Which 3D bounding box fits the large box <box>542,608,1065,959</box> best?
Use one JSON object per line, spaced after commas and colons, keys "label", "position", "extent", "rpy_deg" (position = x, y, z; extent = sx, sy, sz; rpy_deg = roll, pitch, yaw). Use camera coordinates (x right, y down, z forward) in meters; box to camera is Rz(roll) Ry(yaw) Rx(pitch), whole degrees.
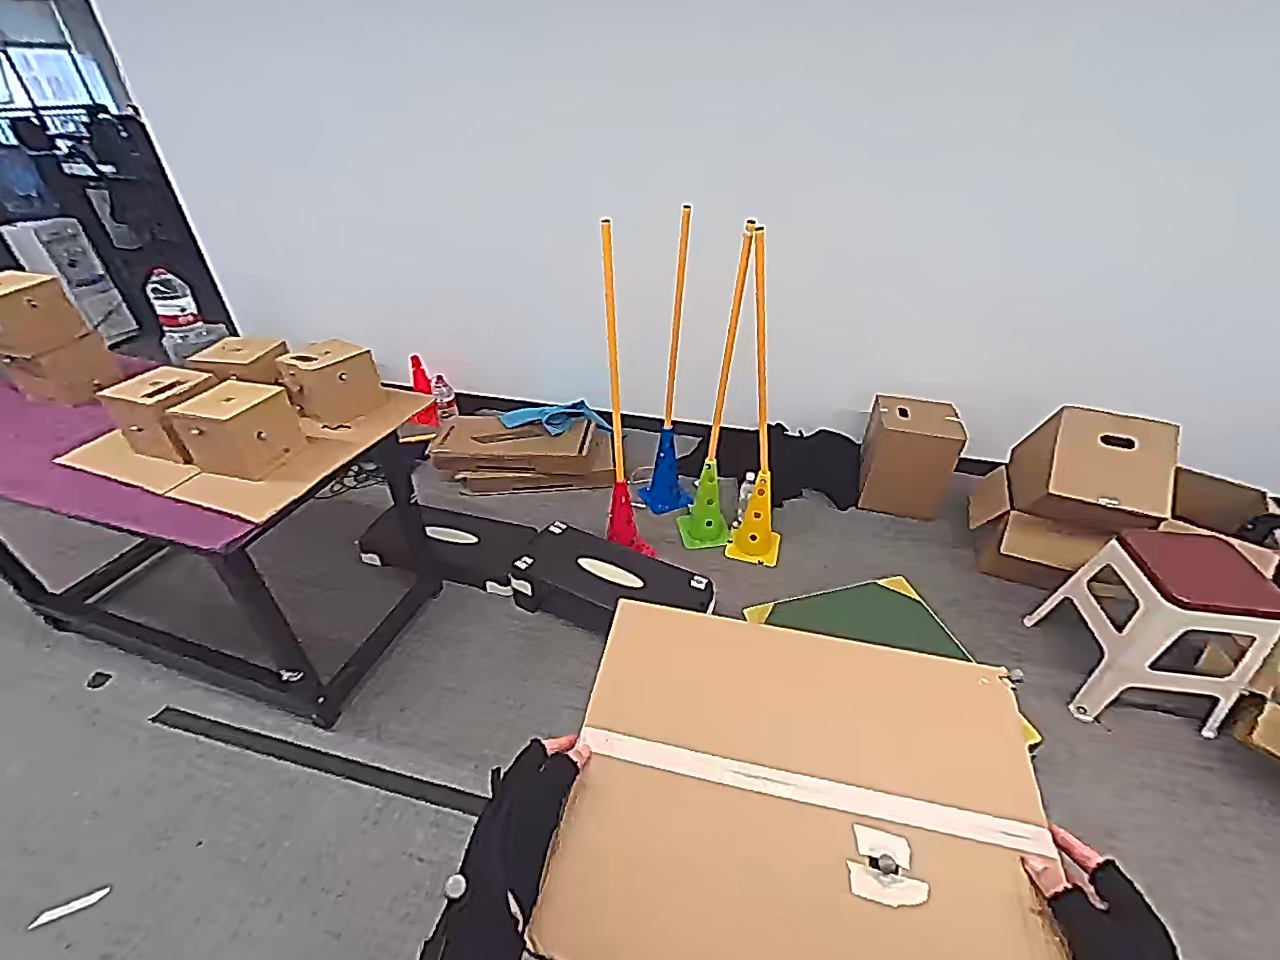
{"label": "large box", "position": [0.147, 0.384, 0.599], "extent": [0.408, 0.320, 0.320], "rpy_deg": [8, 47, 10]}
